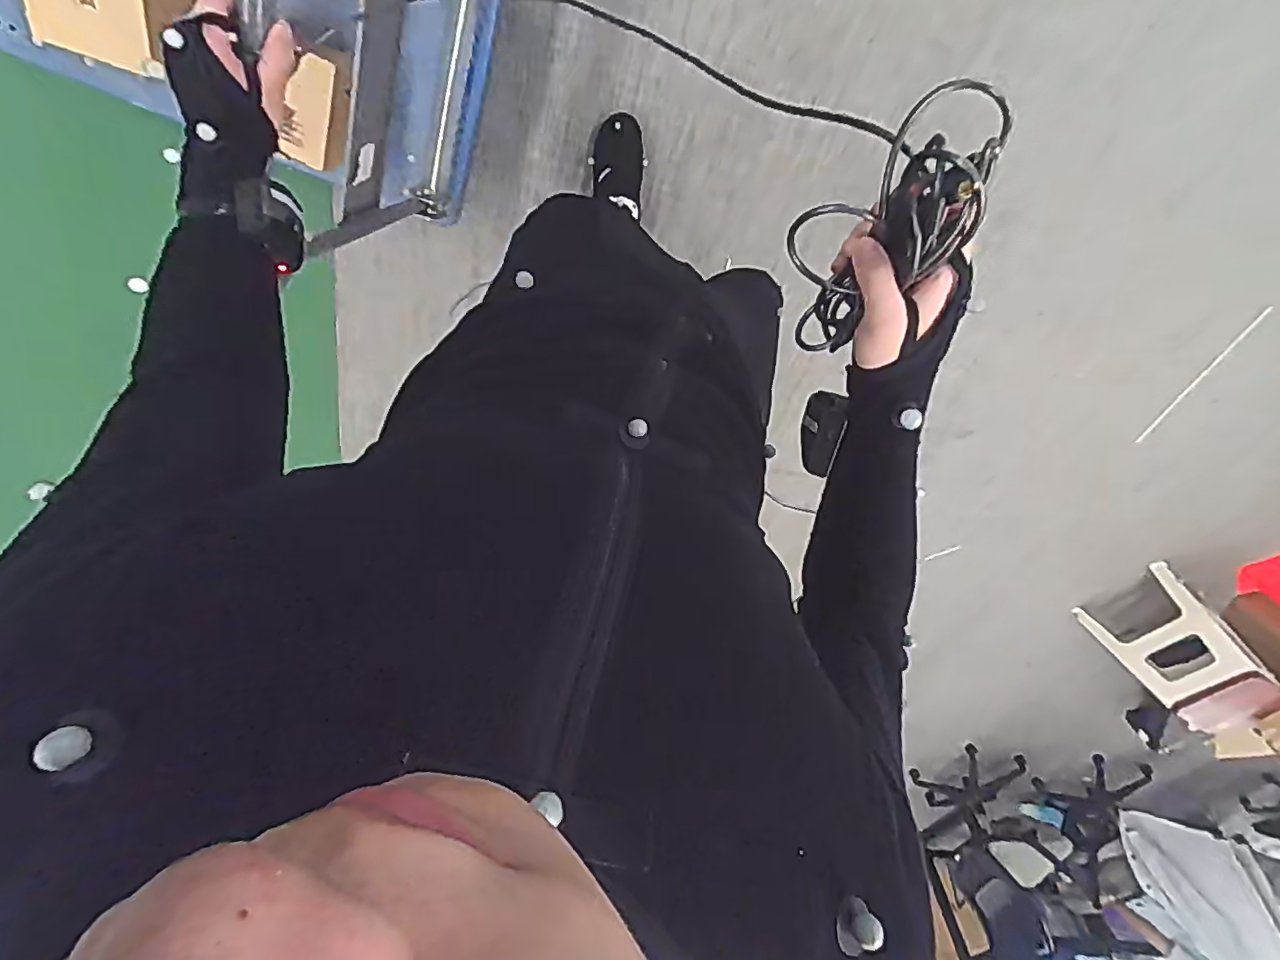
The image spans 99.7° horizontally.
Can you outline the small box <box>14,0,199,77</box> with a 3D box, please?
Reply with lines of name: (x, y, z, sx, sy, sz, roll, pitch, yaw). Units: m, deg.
small box: (-0.868, -0.795, 0.888, 0.179, 0.176, 0.168, 14, 125, -13)
